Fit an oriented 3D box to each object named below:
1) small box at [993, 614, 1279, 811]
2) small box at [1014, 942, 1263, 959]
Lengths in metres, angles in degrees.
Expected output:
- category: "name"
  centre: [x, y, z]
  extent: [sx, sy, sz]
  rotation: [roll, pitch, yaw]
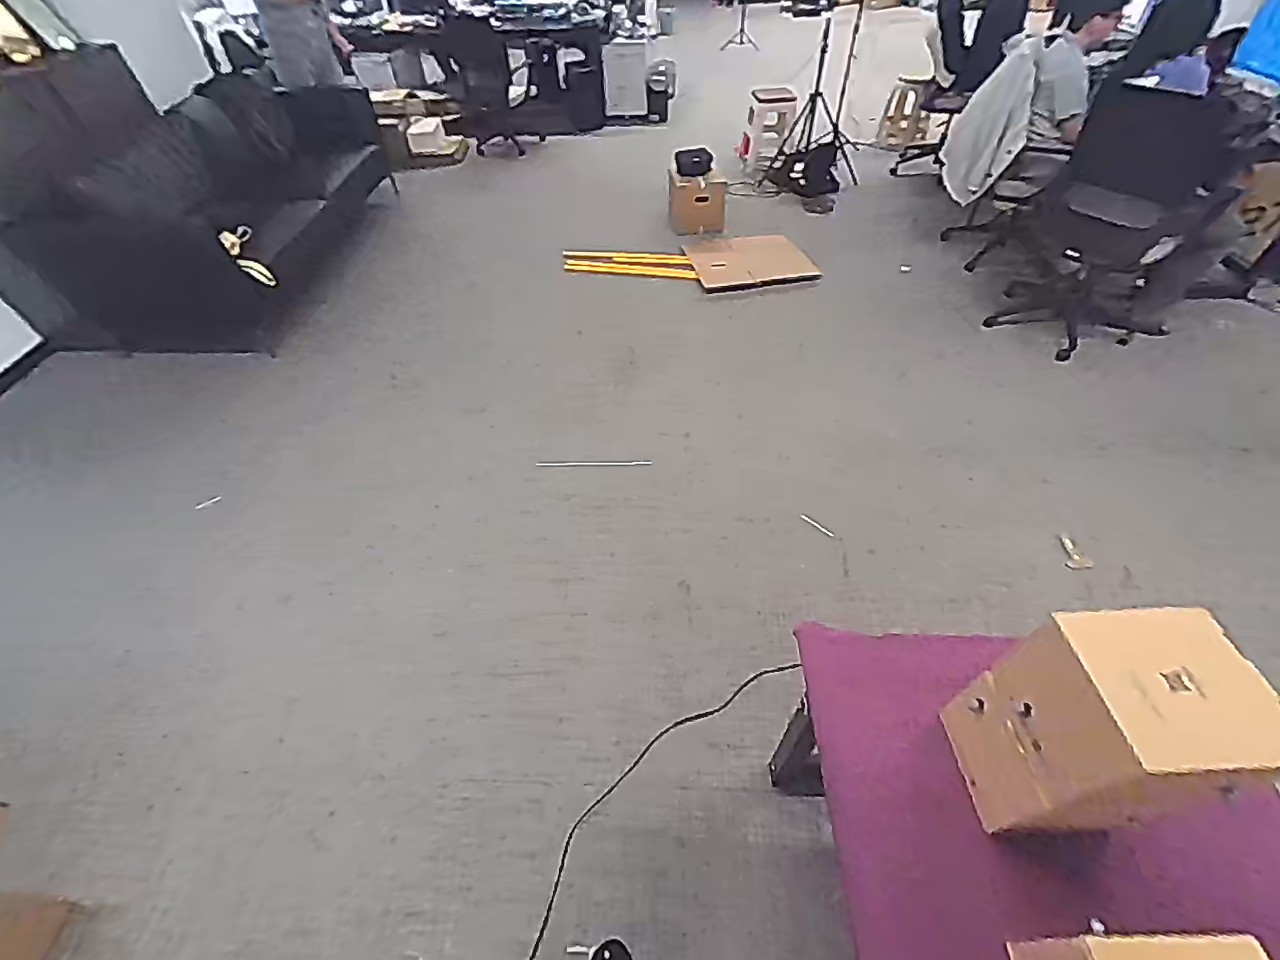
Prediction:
- category: "small box"
  centre: [0.556, 0.267, 0.618]
  extent: [0.179, 0.176, 0.168]
  rotation: [-2, 48, 1]
- category: "small box"
  centre: [0.538, 0.586, 0.557]
  extent: [0.179, 0.176, 0.168]
  rotation: [-2, 48, 2]
